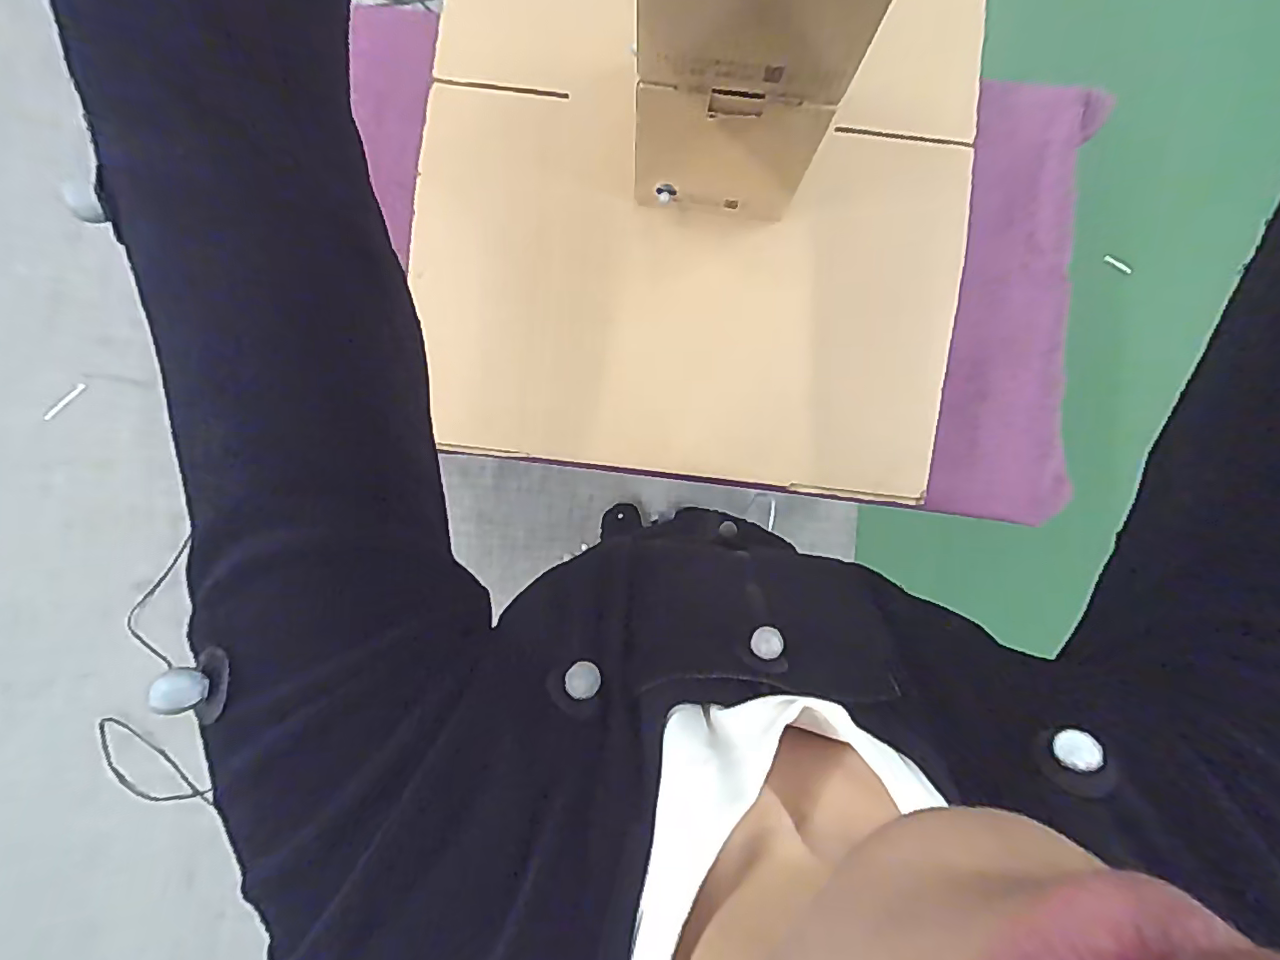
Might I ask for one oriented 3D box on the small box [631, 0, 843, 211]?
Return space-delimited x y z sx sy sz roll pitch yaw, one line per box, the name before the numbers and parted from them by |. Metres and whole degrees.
small box | 0.084 -0.389 0.520 0.168 0.176 0.179 7 85 0
